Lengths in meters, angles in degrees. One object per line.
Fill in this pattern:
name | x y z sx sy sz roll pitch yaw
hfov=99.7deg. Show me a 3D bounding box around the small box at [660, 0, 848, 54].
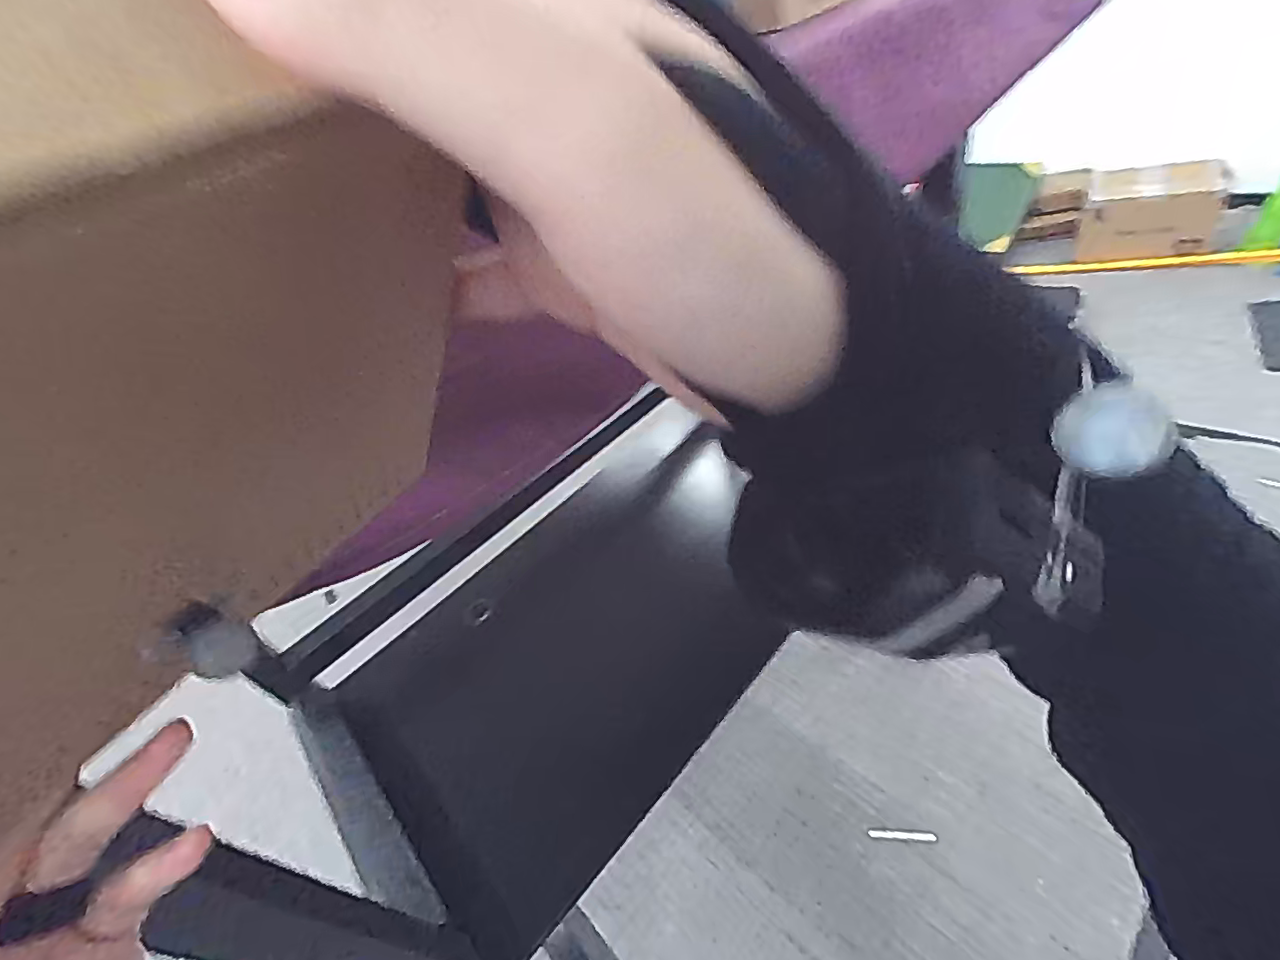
small box | 0.124 -0.616 0.616 0.168 0.176 0.179 -39 43 -22
